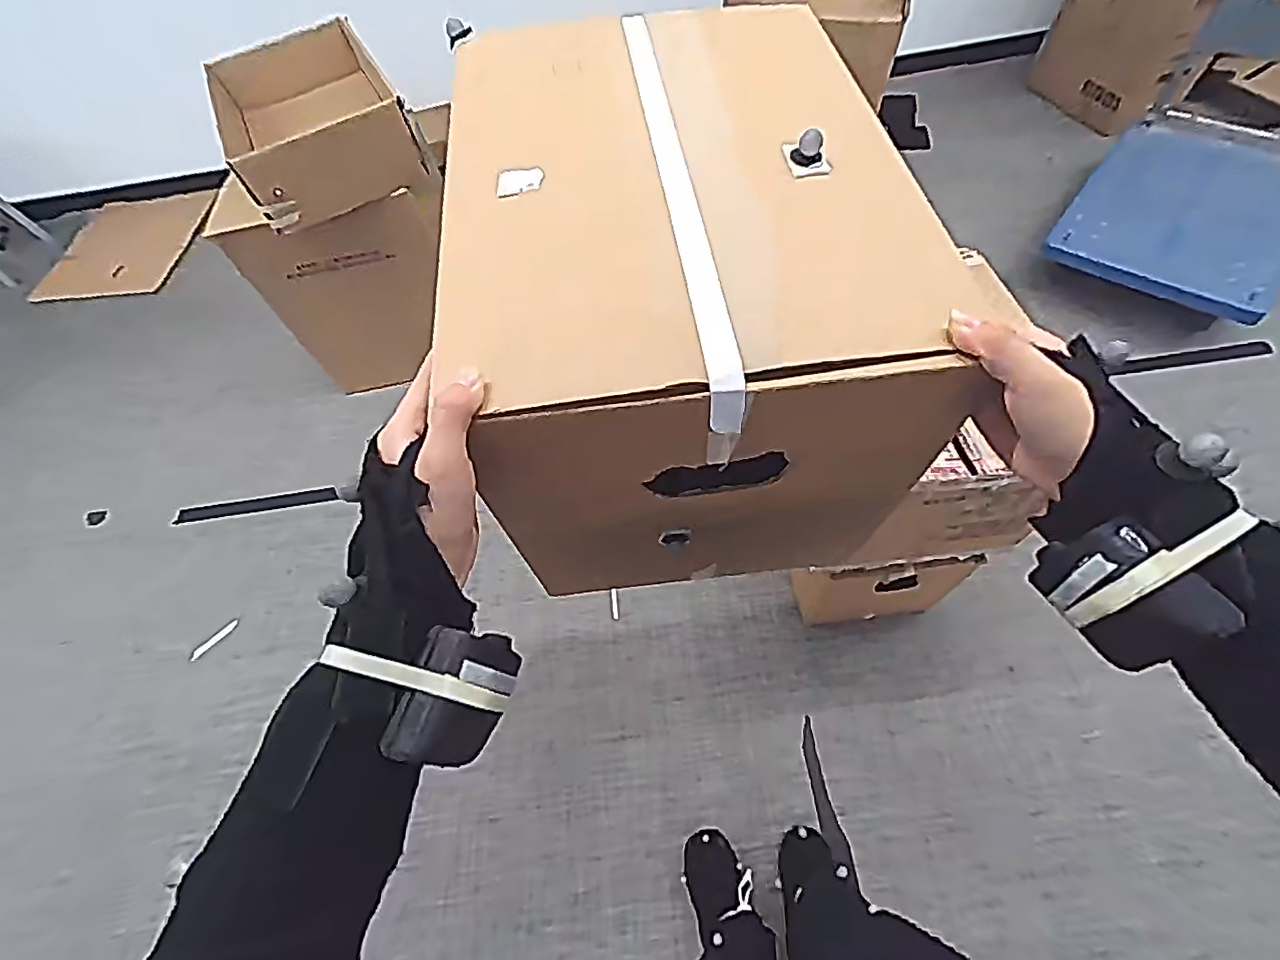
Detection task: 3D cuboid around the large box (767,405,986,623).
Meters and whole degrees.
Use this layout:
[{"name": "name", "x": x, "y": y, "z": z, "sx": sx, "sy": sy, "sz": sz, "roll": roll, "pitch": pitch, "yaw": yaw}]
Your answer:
[{"name": "large box", "x": 0.521, "y": 0.087, "z": 1.297, "sx": 0.320, "sy": 0.320, "sz": 0.408, "roll": -9, "pitch": 59, "yaw": 1}]
